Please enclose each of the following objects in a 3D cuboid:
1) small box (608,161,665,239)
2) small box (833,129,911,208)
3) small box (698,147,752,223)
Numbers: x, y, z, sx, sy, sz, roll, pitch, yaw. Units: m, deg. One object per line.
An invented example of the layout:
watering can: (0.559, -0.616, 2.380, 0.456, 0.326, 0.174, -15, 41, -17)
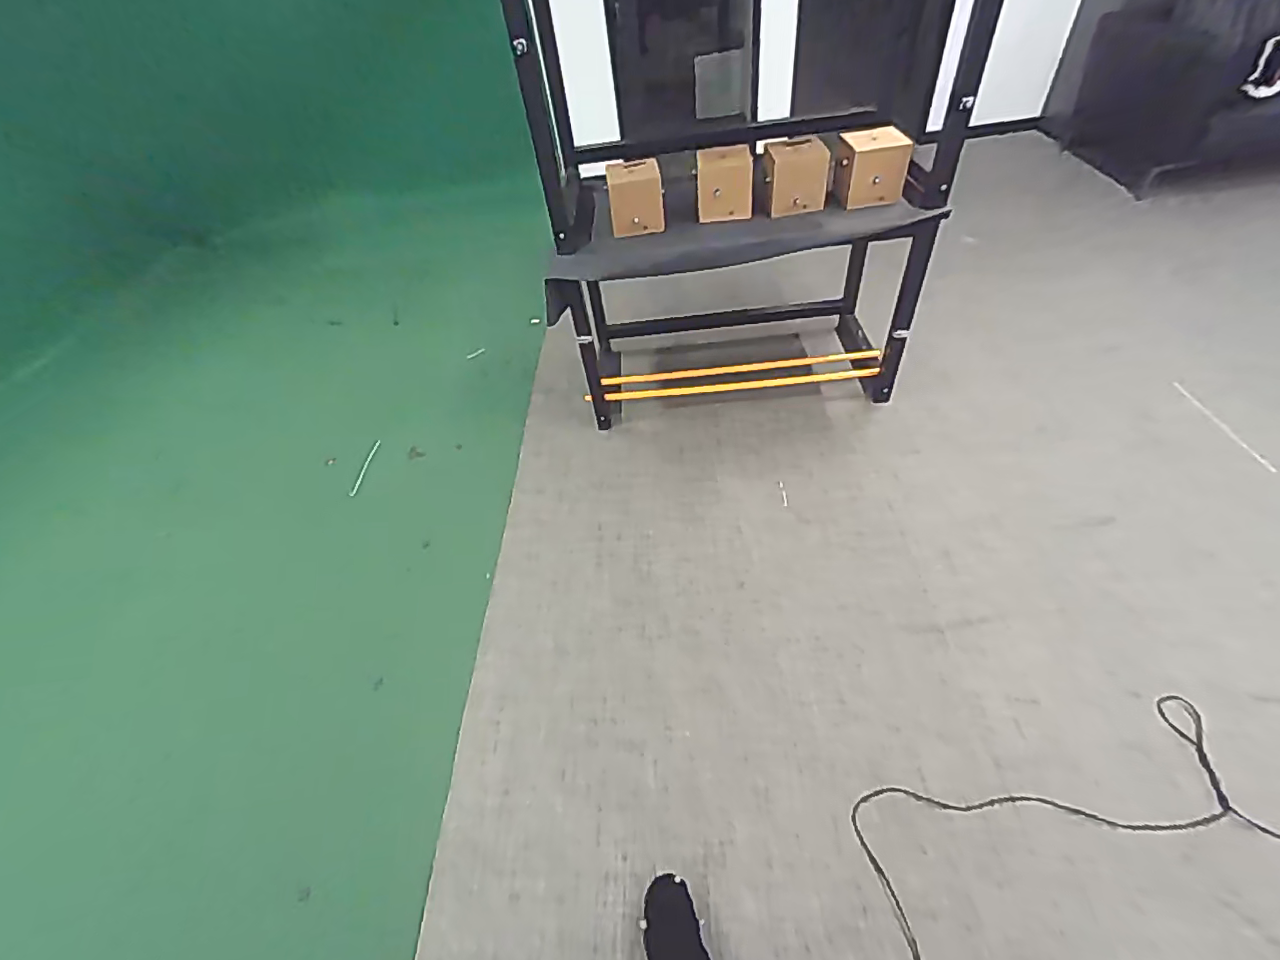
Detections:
small box: (-0.012, -0.903, 1.748, 0.168, 0.176, 0.179, -8, 48, 2)
small box: (0.718, -0.967, 1.690, 0.168, 0.176, 0.179, -6, 46, 3)
small box: (0.274, -0.947, 1.747, 0.168, 0.176, 0.179, -3, 47, 7)
